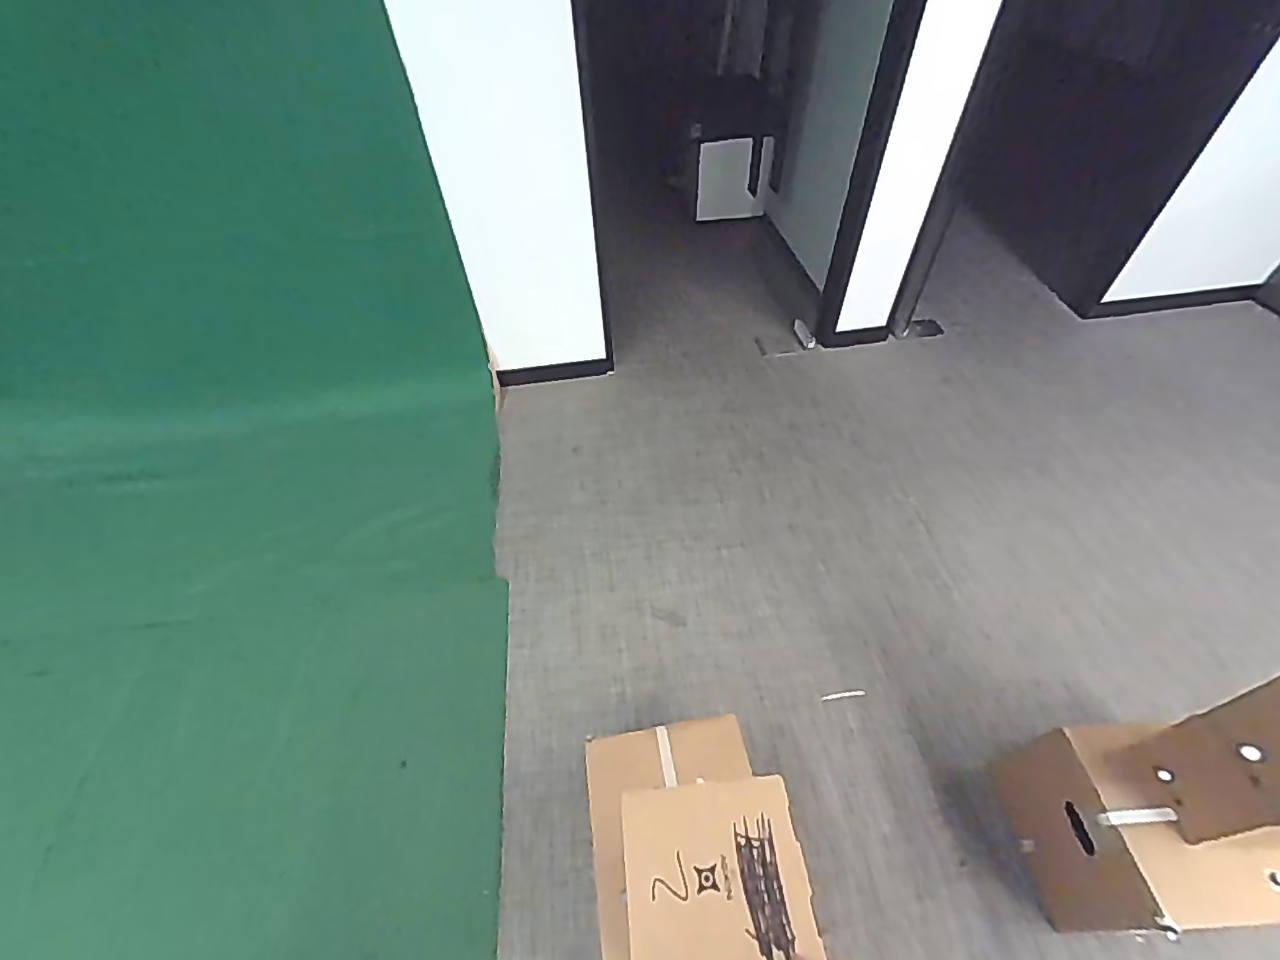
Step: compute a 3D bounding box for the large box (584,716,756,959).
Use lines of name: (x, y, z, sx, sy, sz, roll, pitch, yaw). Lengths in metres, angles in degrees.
large box: (0.079, 0.746, 1.069, 0.320, 0.320, 0.408, -8, 48, -4)

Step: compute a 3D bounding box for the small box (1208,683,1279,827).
small box: (1.016, 0.399, 0.782, 0.179, 0.176, 0.168, 0, 47, 4)

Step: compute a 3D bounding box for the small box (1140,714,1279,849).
small box: (1.019, 0.507, 0.906, 0.179, 0.176, 0.168, -1, 47, 2)
